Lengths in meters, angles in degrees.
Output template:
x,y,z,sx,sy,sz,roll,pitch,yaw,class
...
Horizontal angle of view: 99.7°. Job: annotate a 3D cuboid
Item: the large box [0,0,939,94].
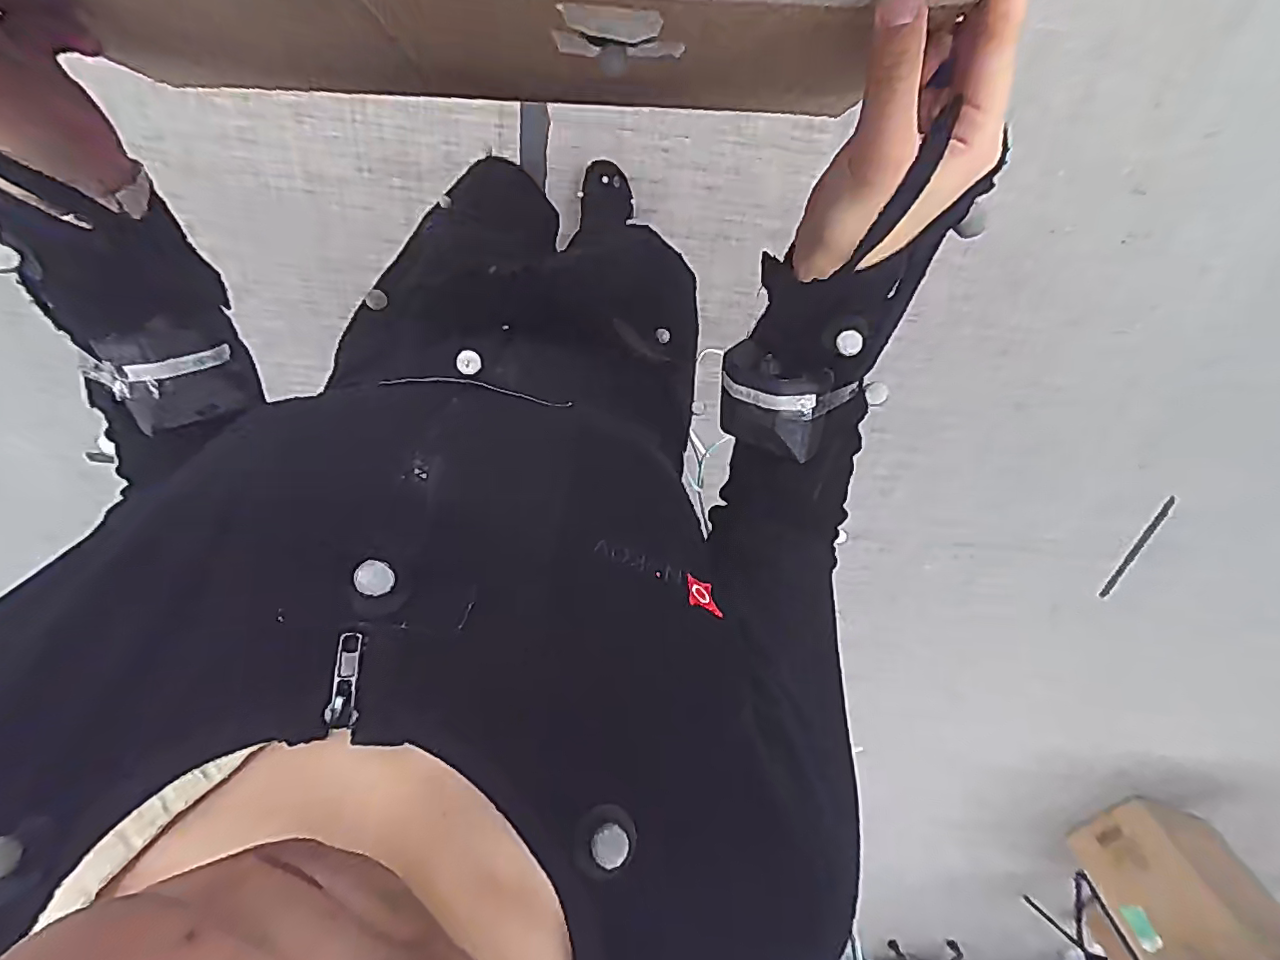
x,y,z,sx,sy,sz,roll,pitch,yaw,class
-0.075,-0.332,0.137,0.408,0.320,0.320,0,111,-1,large box
